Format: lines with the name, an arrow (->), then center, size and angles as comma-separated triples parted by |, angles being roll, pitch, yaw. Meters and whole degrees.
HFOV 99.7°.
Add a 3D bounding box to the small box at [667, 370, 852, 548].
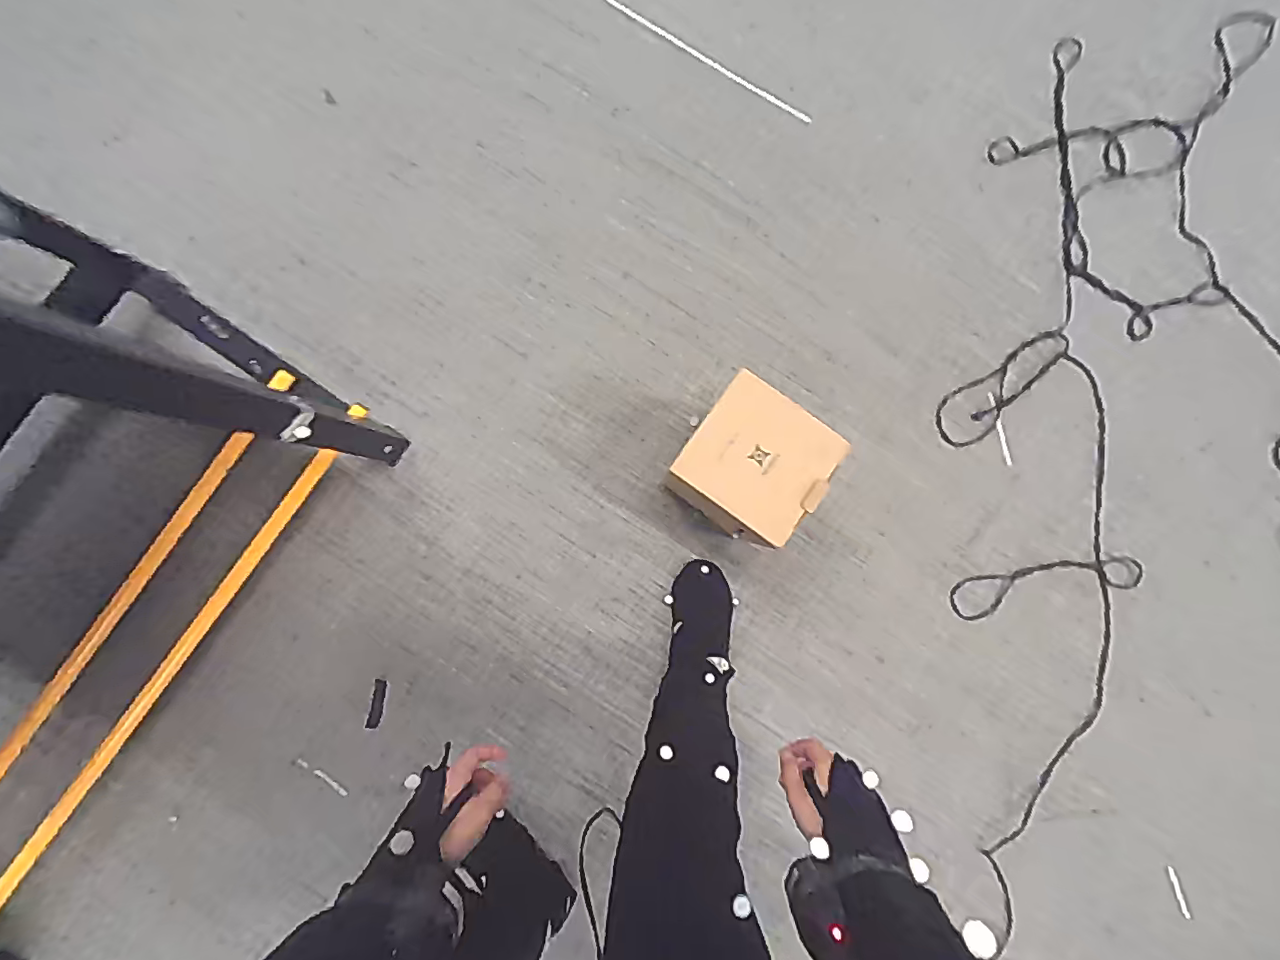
small box -> 0.155, -0.024, 0.764 | 0.179, 0.176, 0.168 | 35, 86, 3
